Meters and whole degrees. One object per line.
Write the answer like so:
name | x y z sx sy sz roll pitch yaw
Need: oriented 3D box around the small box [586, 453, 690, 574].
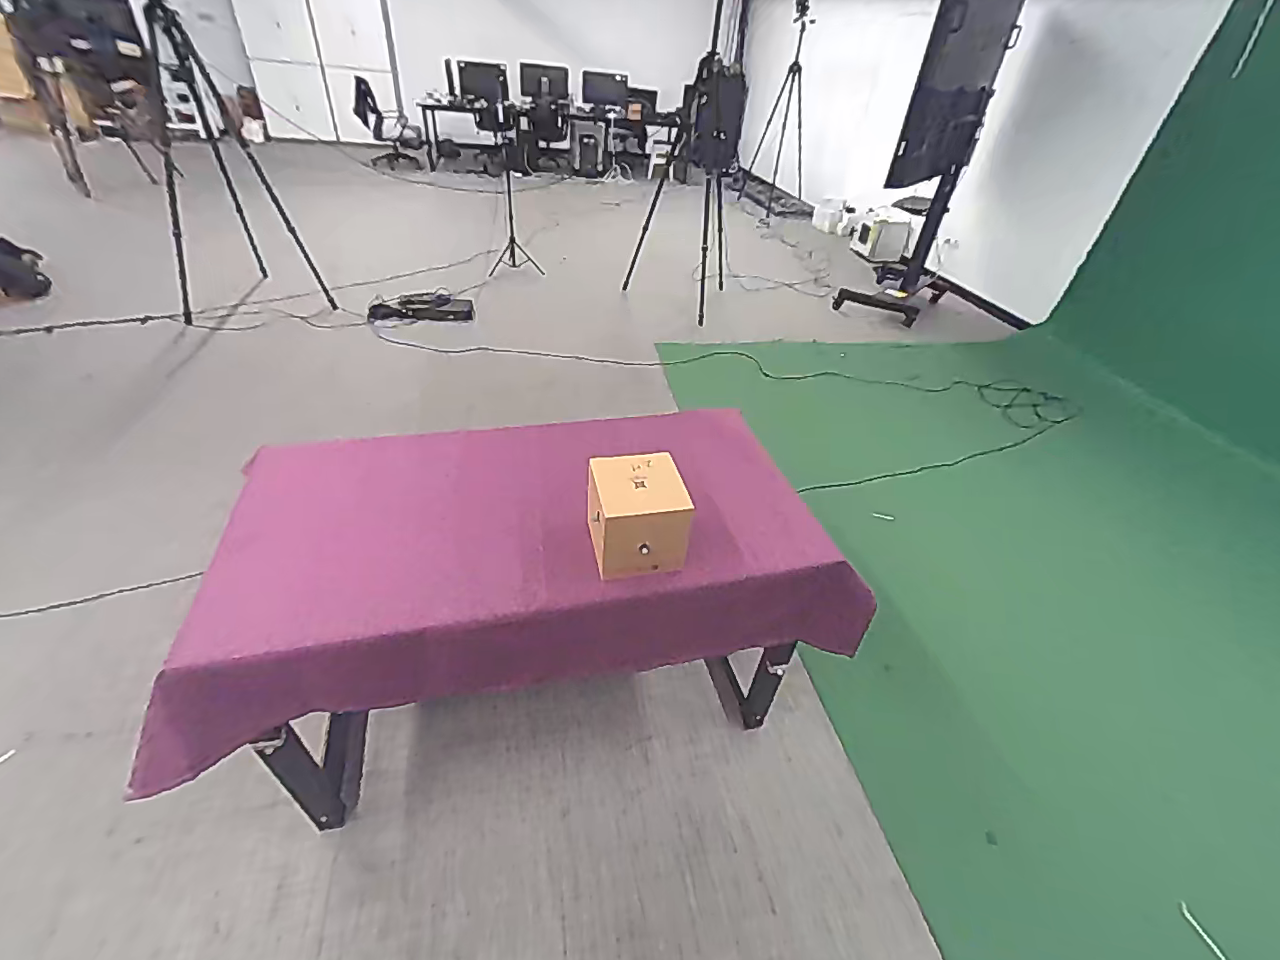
small box | -0.012 0.069 1.061 0.168 0.176 0.179 -5 40 -14
